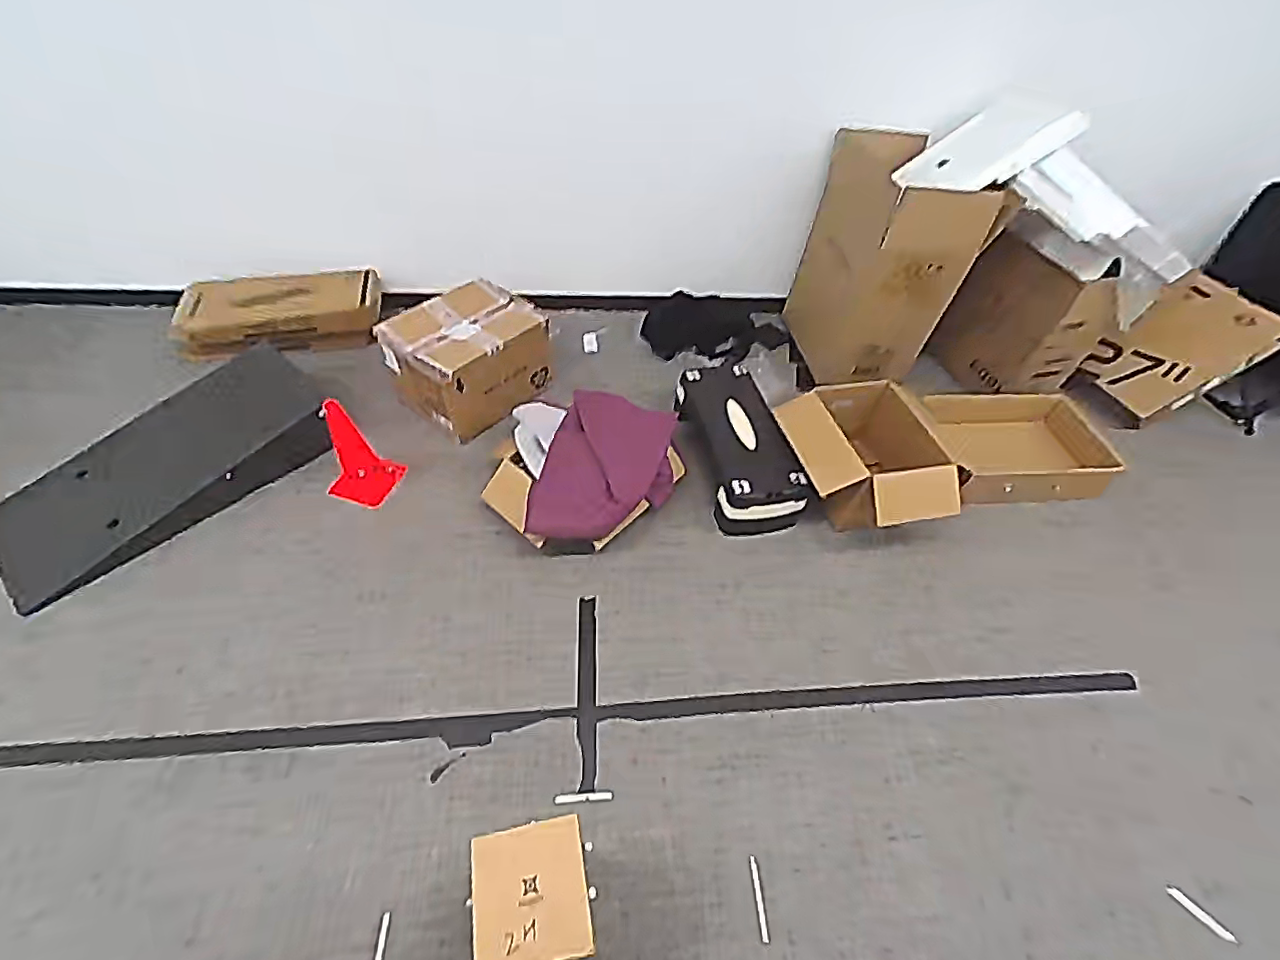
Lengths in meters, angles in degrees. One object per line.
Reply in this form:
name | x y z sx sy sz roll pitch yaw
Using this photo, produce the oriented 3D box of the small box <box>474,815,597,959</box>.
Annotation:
small box | -0.163 0.656 0.846 0.168 0.176 0.179 -8 51 -10
